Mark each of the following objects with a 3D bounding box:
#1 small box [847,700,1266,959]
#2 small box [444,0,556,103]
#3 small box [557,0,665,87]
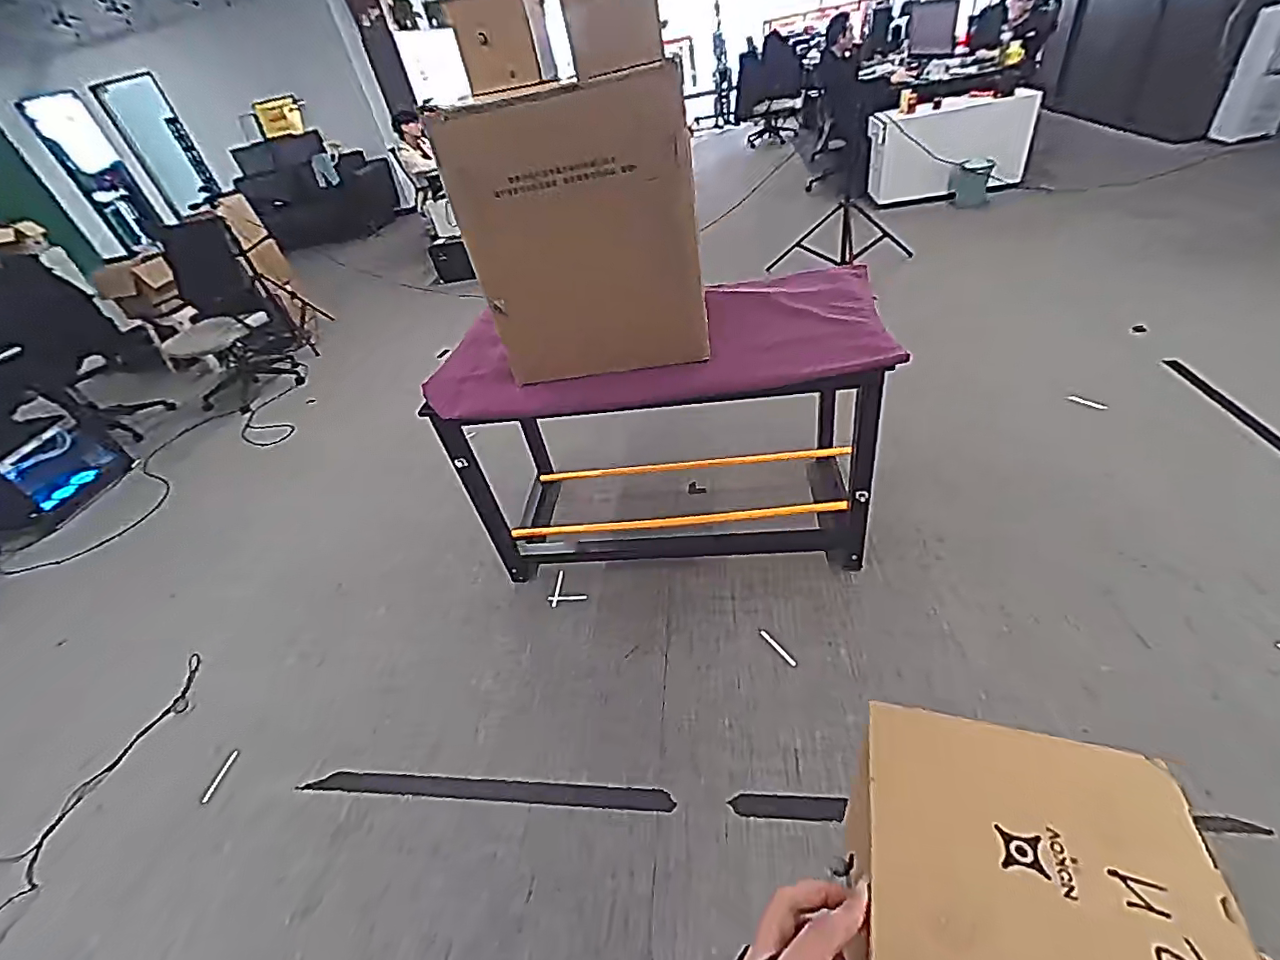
[{"bbox_3d":[0.228,0.276,0.340,0.179,0.176,0.168,5,34,19],"label":"small box"},{"bbox_3d":[-0.297,-0.953,1.196,0.168,0.176,0.179,-3,40,11],"label":"small box"},{"bbox_3d":[-0.053,-0.872,1.028,0.179,0.176,0.168,-8,40,8],"label":"small box"}]
